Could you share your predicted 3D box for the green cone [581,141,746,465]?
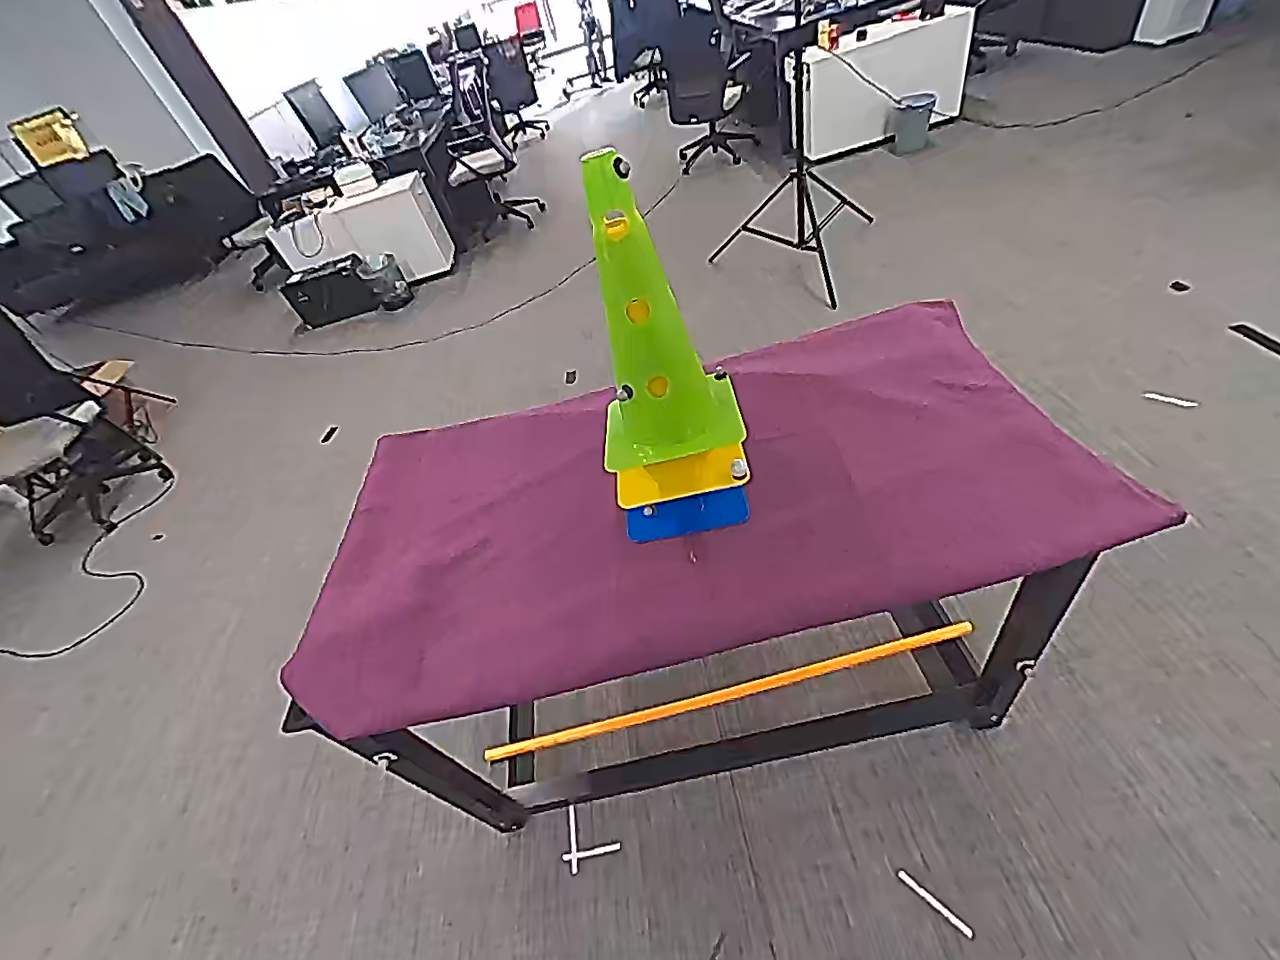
[{"bbox_3d":[-0.002,-0.228,0.698,0.200,0.368,0.202,-14,38,8],"label":"green cone"}]
